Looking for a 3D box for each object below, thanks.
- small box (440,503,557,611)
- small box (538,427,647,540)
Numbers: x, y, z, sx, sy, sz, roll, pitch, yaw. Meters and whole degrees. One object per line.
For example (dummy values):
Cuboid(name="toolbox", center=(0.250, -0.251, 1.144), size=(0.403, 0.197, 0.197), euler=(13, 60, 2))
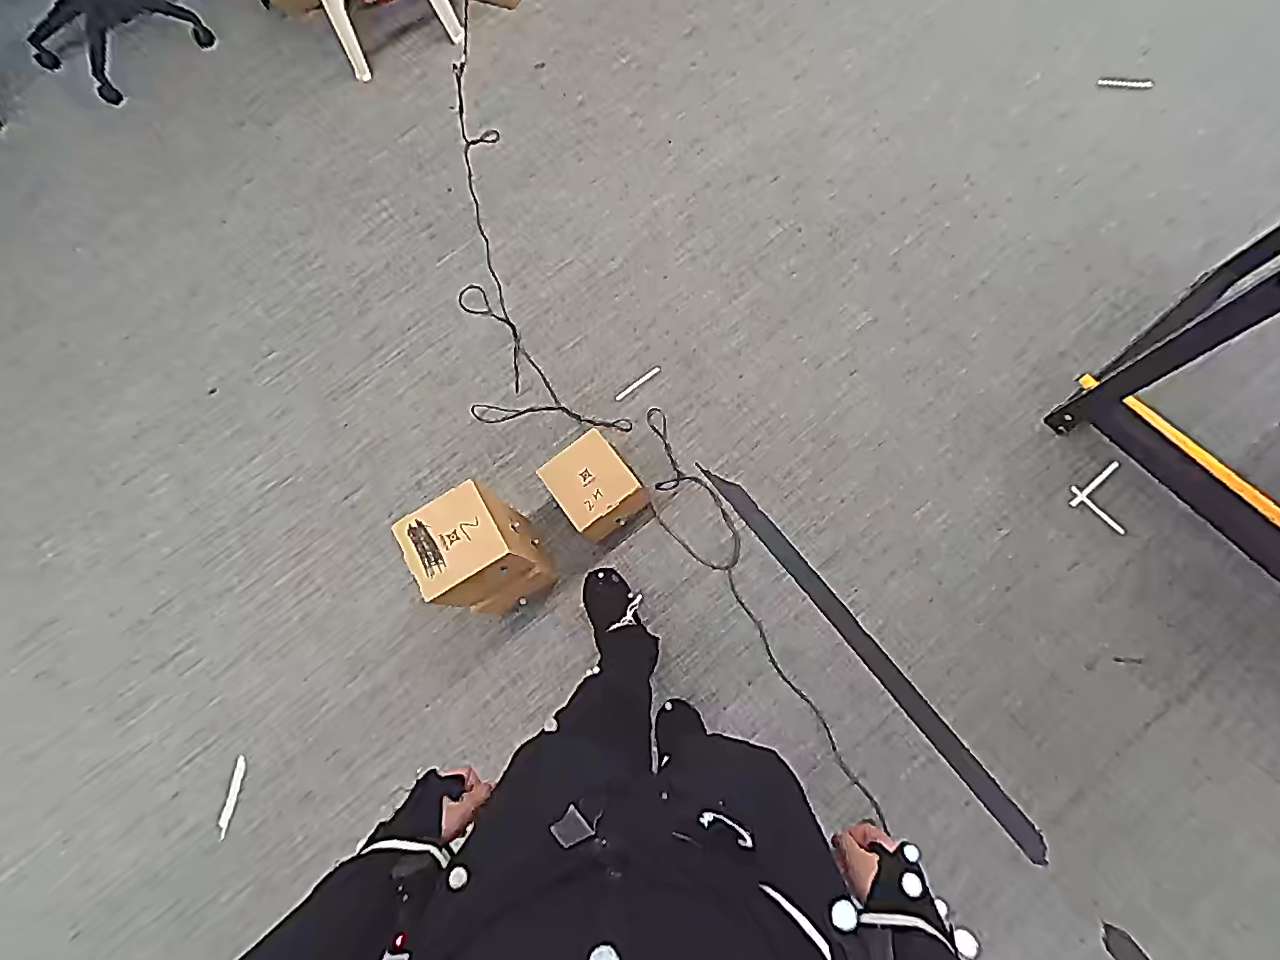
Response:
Cuboid(name="small box", center=(-0.308, 0.180, 1.207), size=(0.168, 0.176, 0.179), euler=(-31, 75, -3))
Cuboid(name="small box", center=(-0.101, 0.016, 1.233), size=(0.168, 0.176, 0.179), euler=(-37, 74, -4))
